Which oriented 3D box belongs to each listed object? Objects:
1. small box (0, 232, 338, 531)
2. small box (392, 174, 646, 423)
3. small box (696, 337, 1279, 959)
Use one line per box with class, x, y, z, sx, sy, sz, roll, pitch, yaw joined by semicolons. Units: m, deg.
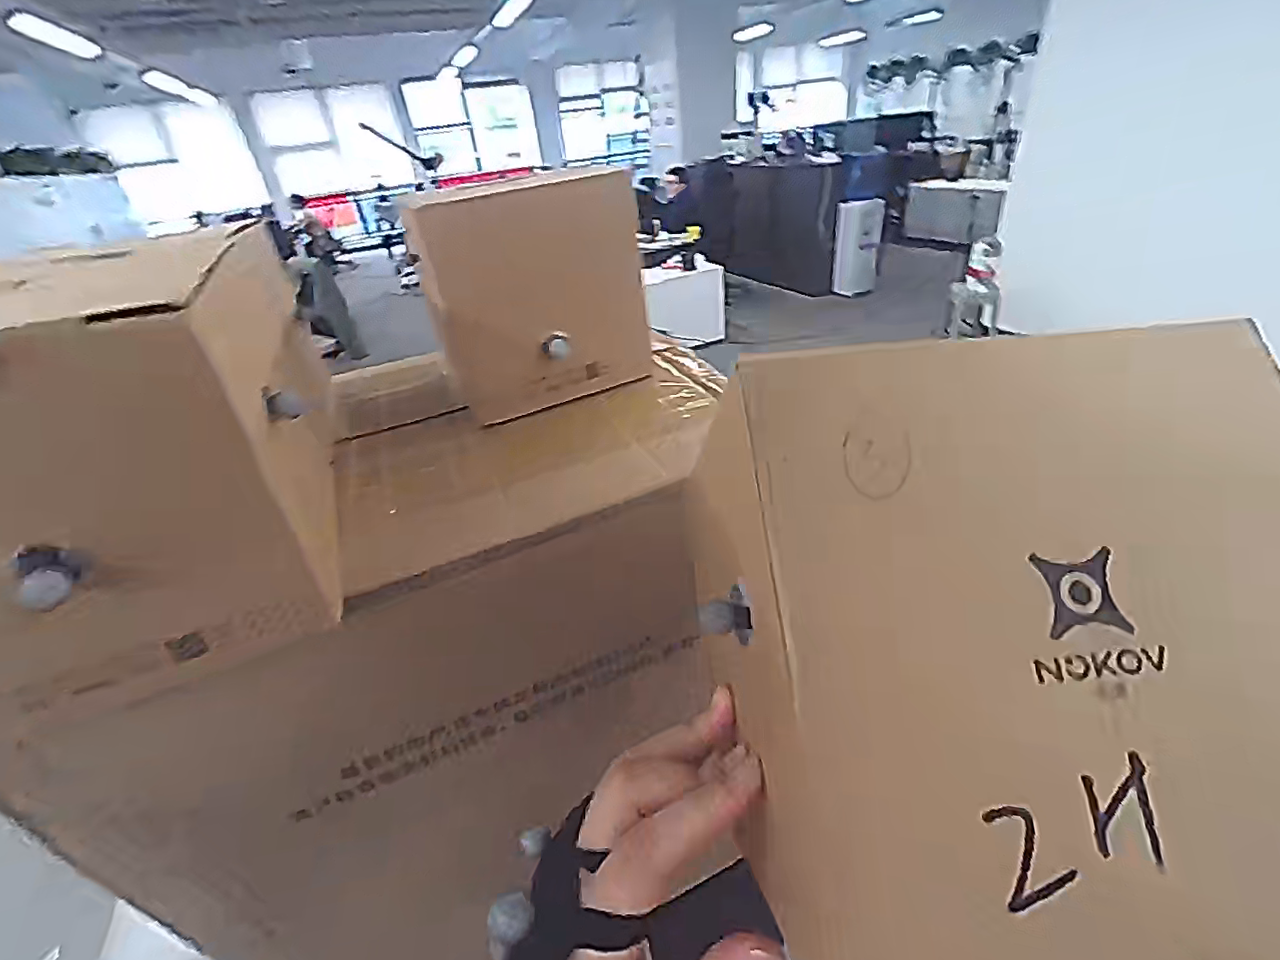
small box;-0.360;-0.088;0.428;0.168;0.176;0.179;-20;34;-18
small box;-0.110;-0.172;0.499;0.168;0.176;0.179;-22;35;-18
small box;0.119;0.061;0.232;0.168;0.176;0.179;-4;75;-1
